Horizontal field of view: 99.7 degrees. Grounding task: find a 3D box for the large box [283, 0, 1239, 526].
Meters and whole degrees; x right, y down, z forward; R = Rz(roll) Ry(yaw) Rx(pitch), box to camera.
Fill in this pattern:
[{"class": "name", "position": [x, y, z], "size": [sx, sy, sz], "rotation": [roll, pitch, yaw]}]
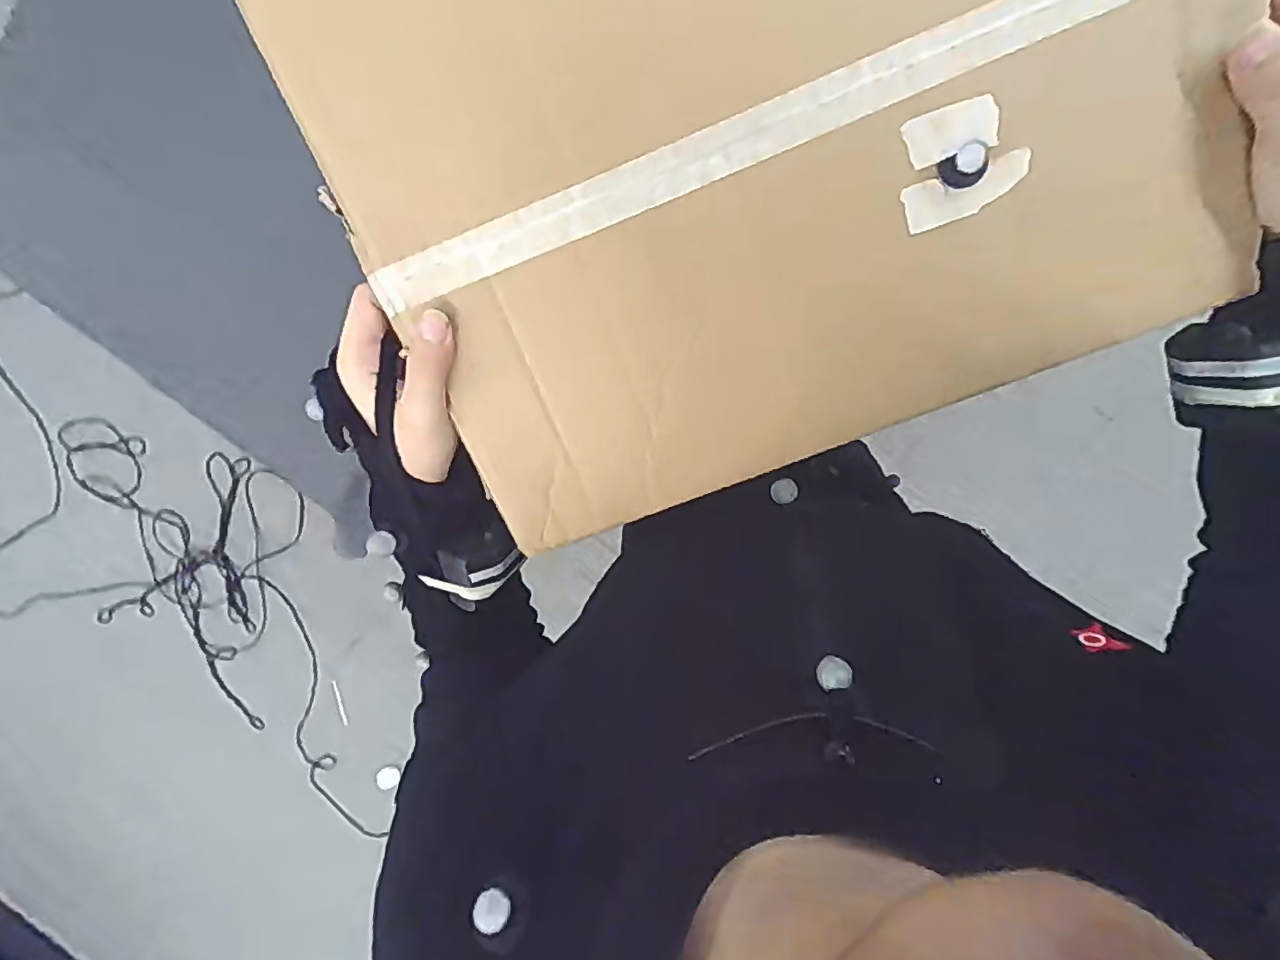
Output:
[{"class": "large box", "position": [0.065, -0.221, 0.393], "size": [0.408, 0.320, 0.320], "rotation": [-21, 109, 4]}]
